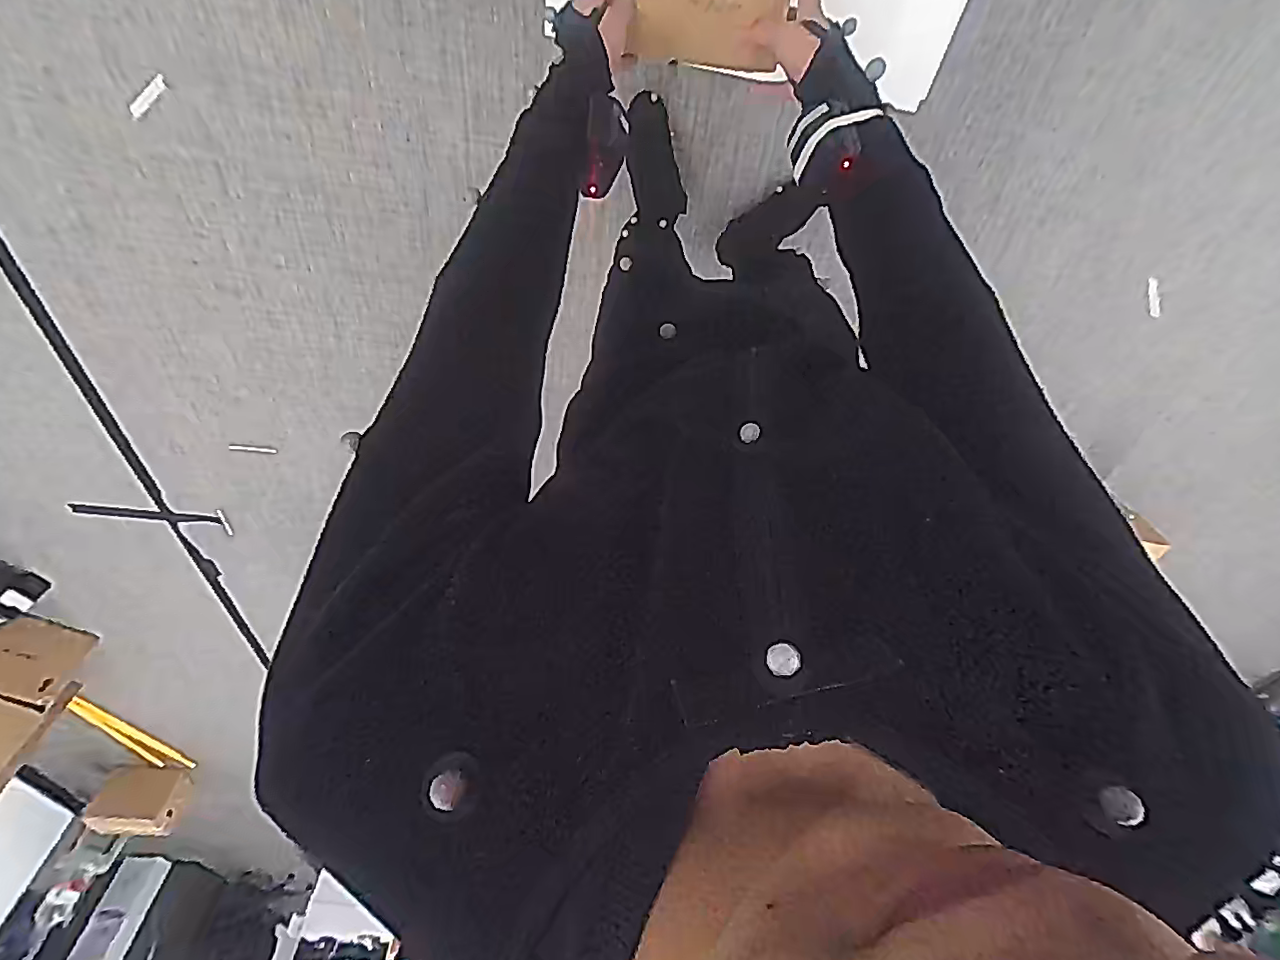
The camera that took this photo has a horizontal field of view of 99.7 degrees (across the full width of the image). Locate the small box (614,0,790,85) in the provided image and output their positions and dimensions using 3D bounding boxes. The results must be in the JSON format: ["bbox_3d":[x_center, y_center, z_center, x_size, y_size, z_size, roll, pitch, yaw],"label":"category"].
[{"bbox_3d":[0.064,-0.527,0.558,0.168,0.176,0.179,6,126,-3],"label":"small box"}]
